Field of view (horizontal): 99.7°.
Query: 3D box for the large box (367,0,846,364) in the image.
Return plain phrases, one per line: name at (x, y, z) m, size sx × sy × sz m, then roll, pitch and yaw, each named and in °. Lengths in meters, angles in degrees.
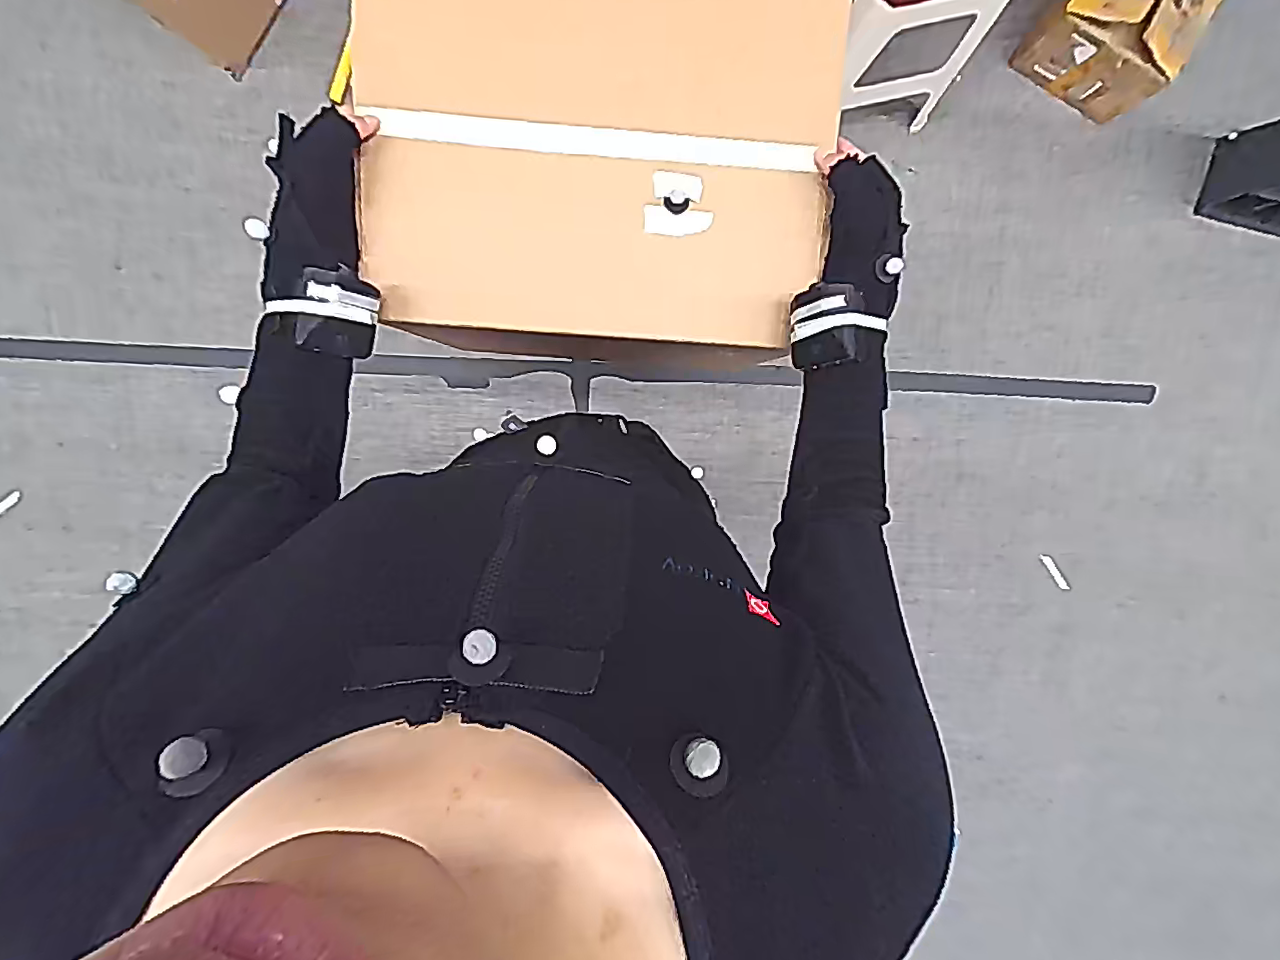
large box at (-0.040, -0.307, 0.610) m, size 0.408 × 0.320 × 0.320 m, roll 3°, pitch 98°, yaw -4°
